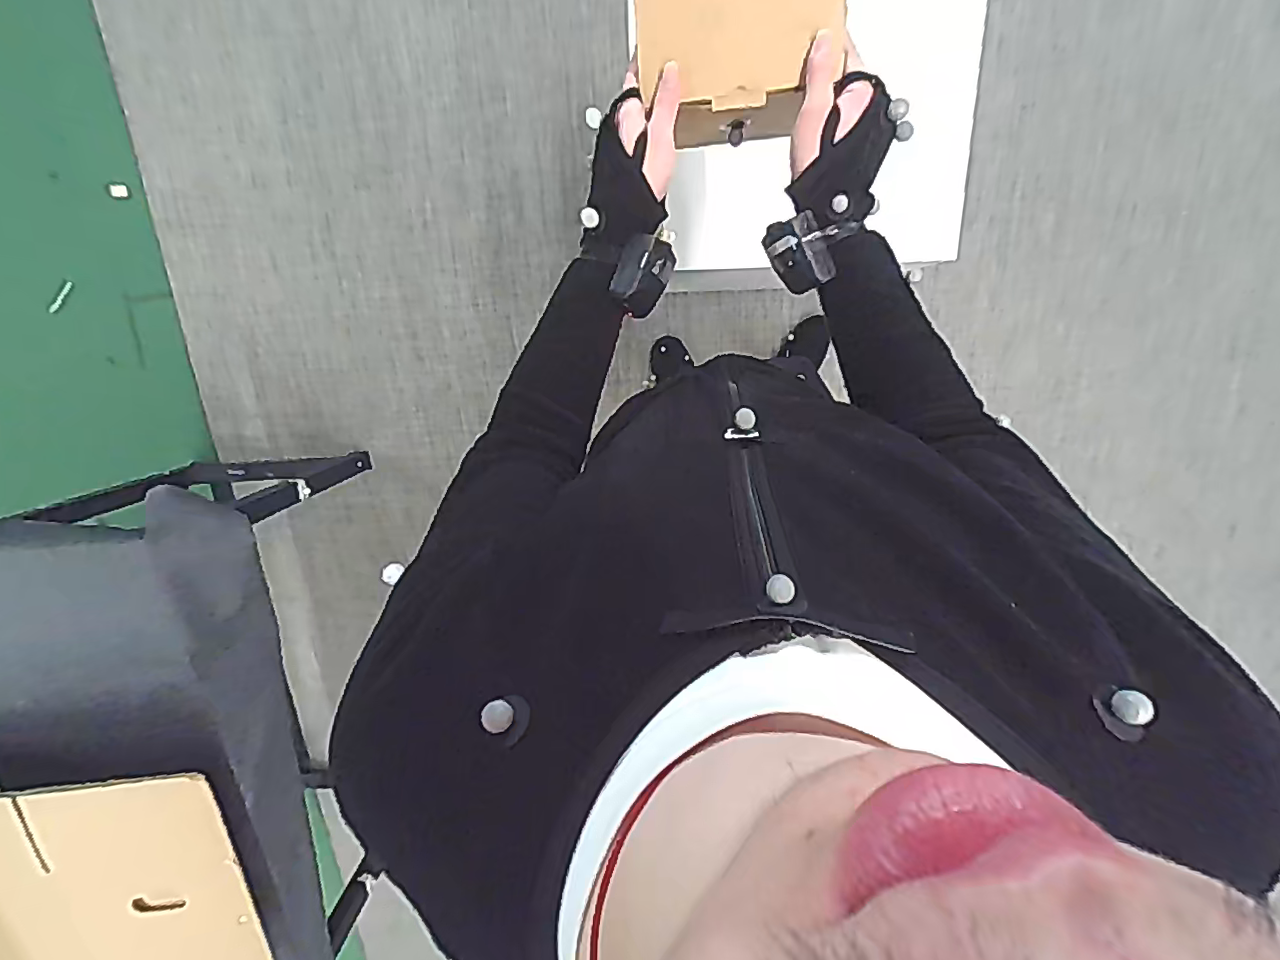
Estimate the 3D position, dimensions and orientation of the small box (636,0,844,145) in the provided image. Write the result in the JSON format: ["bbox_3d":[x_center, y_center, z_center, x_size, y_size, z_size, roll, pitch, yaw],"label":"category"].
[{"bbox_3d":[0.089,-0.427,0.496,0.168,0.176,0.179,-3,110,10],"label":"small box"}]
